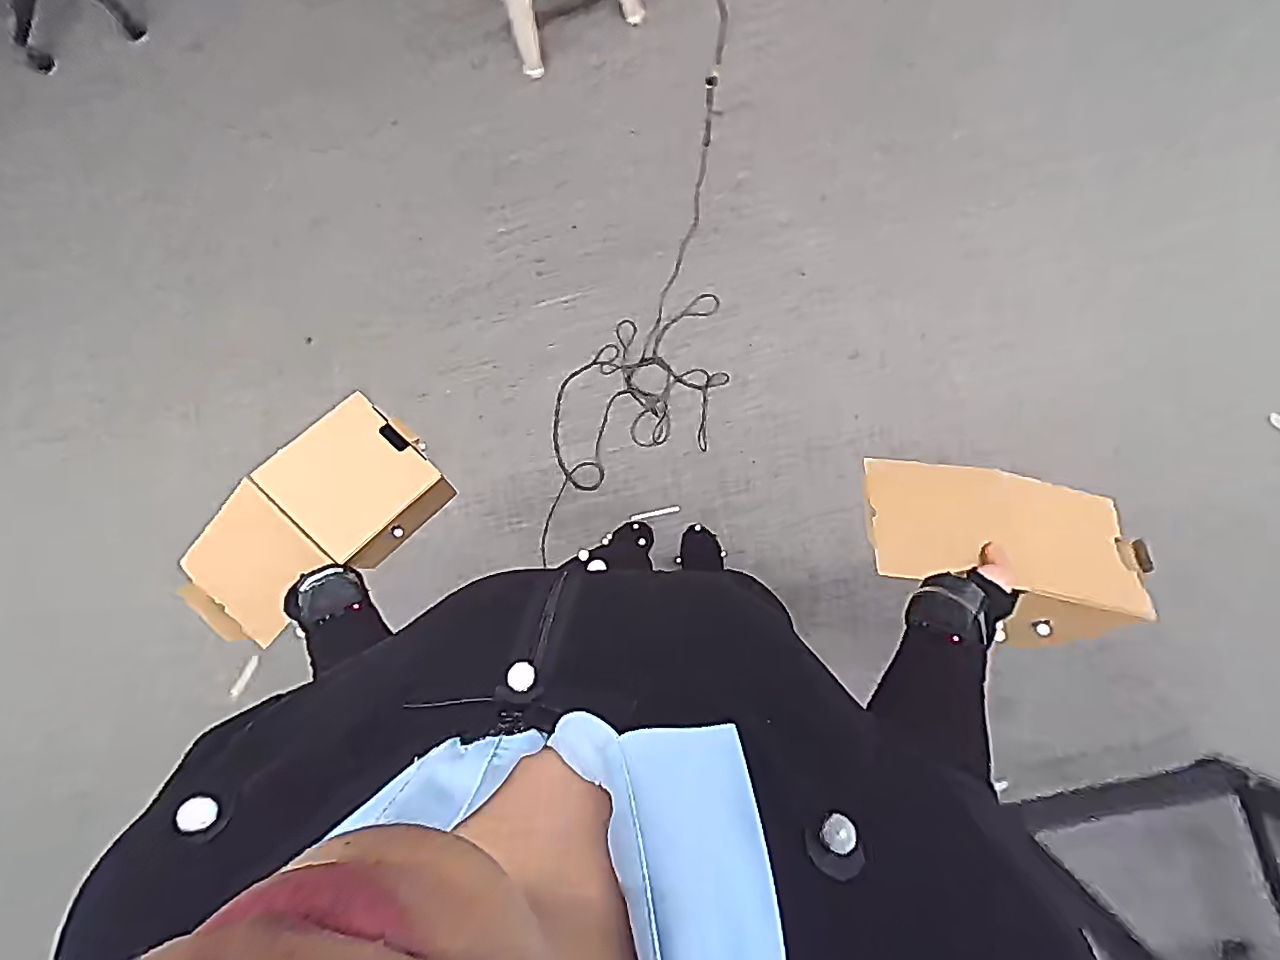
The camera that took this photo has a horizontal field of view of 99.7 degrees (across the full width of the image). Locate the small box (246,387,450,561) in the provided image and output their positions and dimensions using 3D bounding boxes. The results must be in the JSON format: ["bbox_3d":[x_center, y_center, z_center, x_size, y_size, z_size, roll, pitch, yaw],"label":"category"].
[{"bbox_3d":[-0.399,0.003,0.780,0.179,0.176,0.168,-44,92,-16],"label":"small box"}]
